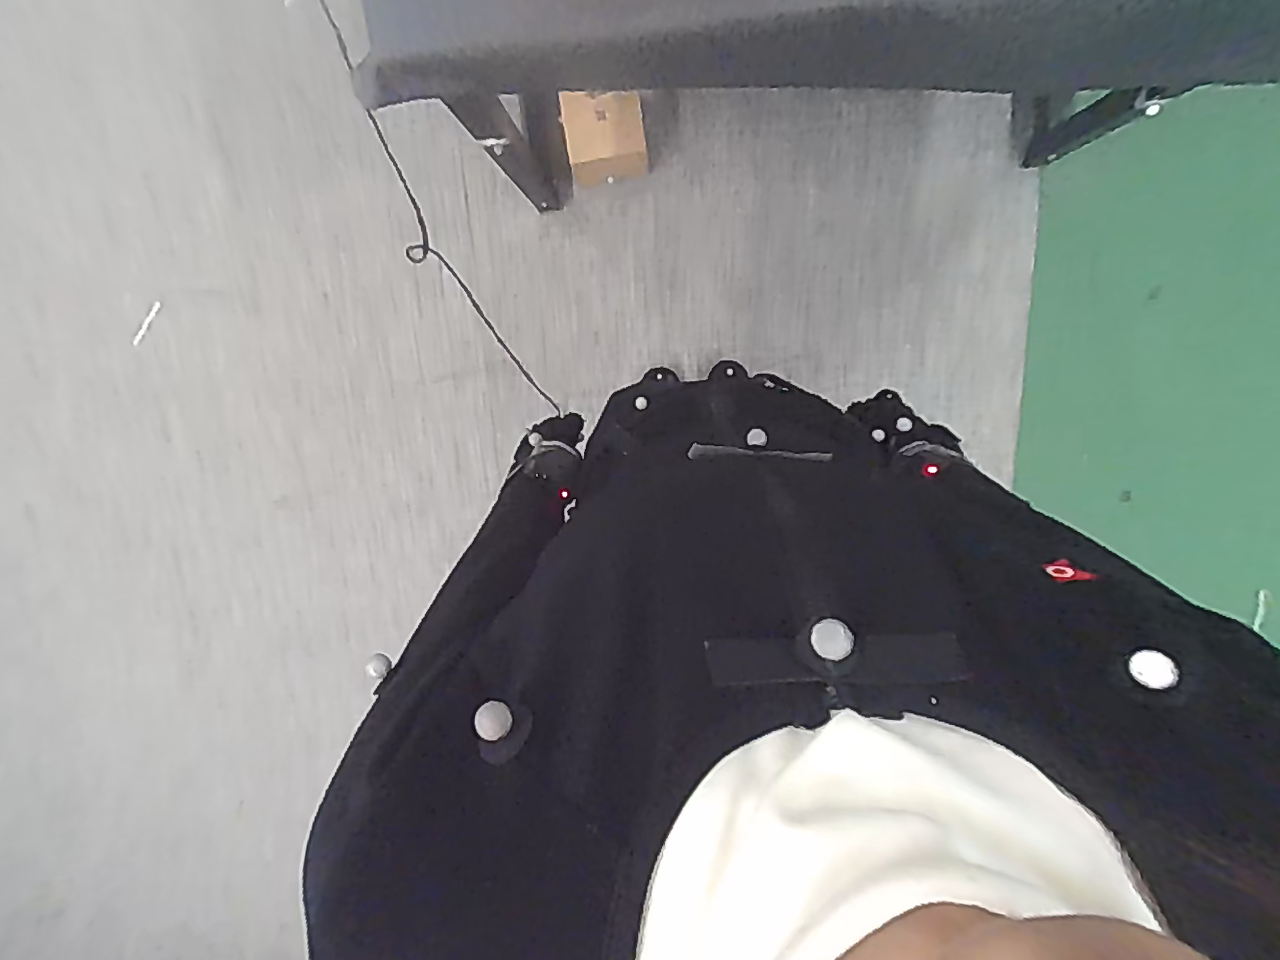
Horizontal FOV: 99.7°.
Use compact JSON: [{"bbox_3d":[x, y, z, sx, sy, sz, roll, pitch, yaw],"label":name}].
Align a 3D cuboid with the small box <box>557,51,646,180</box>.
[{"bbox_3d":[-0.077,-0.790,1.188,0.168,0.176,0.179,-7,104,4],"label":"small box"}]
